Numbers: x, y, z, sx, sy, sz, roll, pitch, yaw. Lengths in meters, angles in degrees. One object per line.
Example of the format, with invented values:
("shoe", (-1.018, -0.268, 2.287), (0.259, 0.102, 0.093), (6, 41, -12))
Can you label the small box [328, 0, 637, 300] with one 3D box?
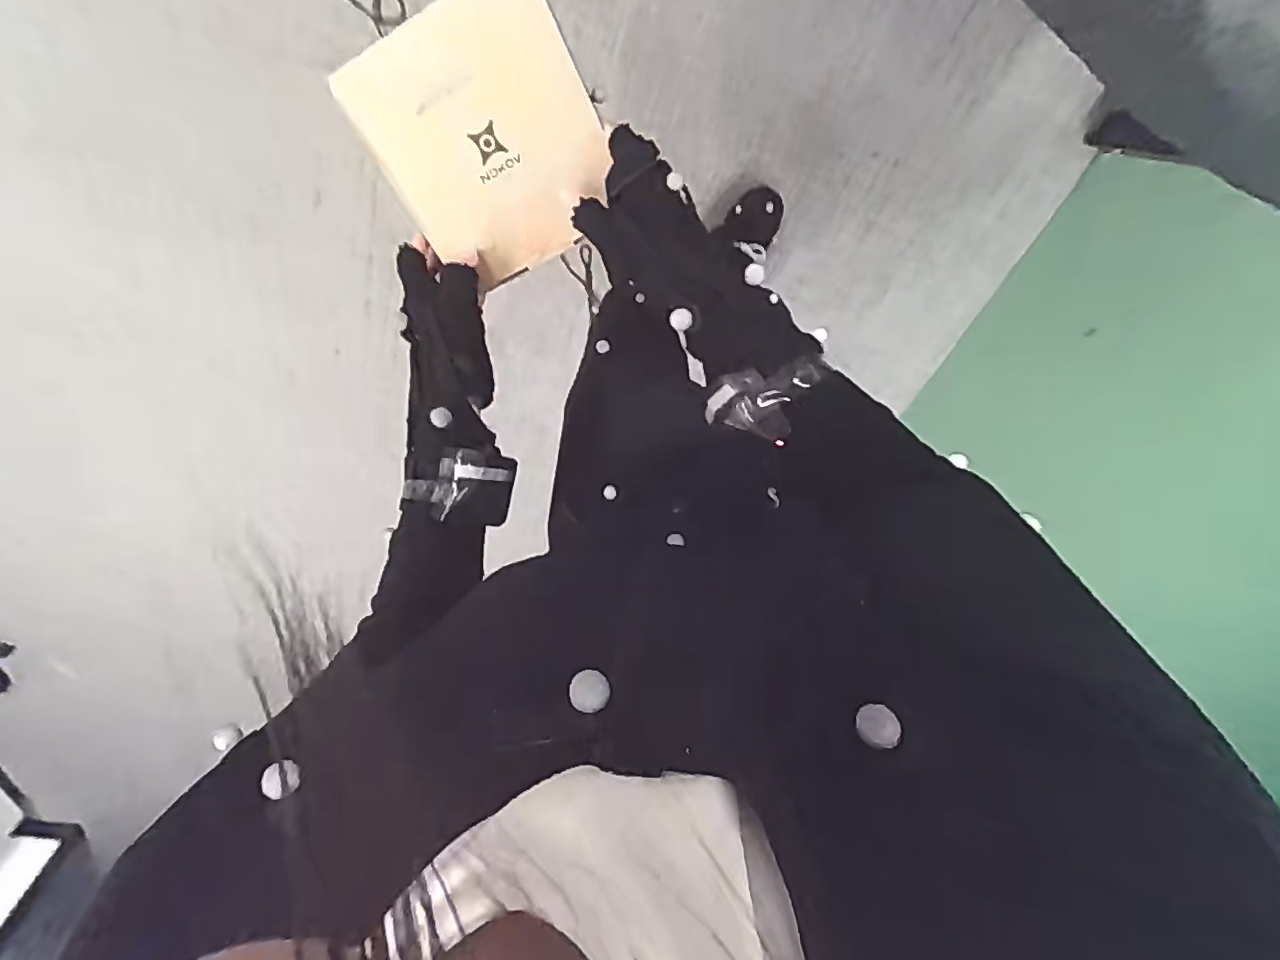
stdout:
("small box", (-0.112, -0.290, 0.470), (0.168, 0.176, 0.179), (-25, 119, 12))
